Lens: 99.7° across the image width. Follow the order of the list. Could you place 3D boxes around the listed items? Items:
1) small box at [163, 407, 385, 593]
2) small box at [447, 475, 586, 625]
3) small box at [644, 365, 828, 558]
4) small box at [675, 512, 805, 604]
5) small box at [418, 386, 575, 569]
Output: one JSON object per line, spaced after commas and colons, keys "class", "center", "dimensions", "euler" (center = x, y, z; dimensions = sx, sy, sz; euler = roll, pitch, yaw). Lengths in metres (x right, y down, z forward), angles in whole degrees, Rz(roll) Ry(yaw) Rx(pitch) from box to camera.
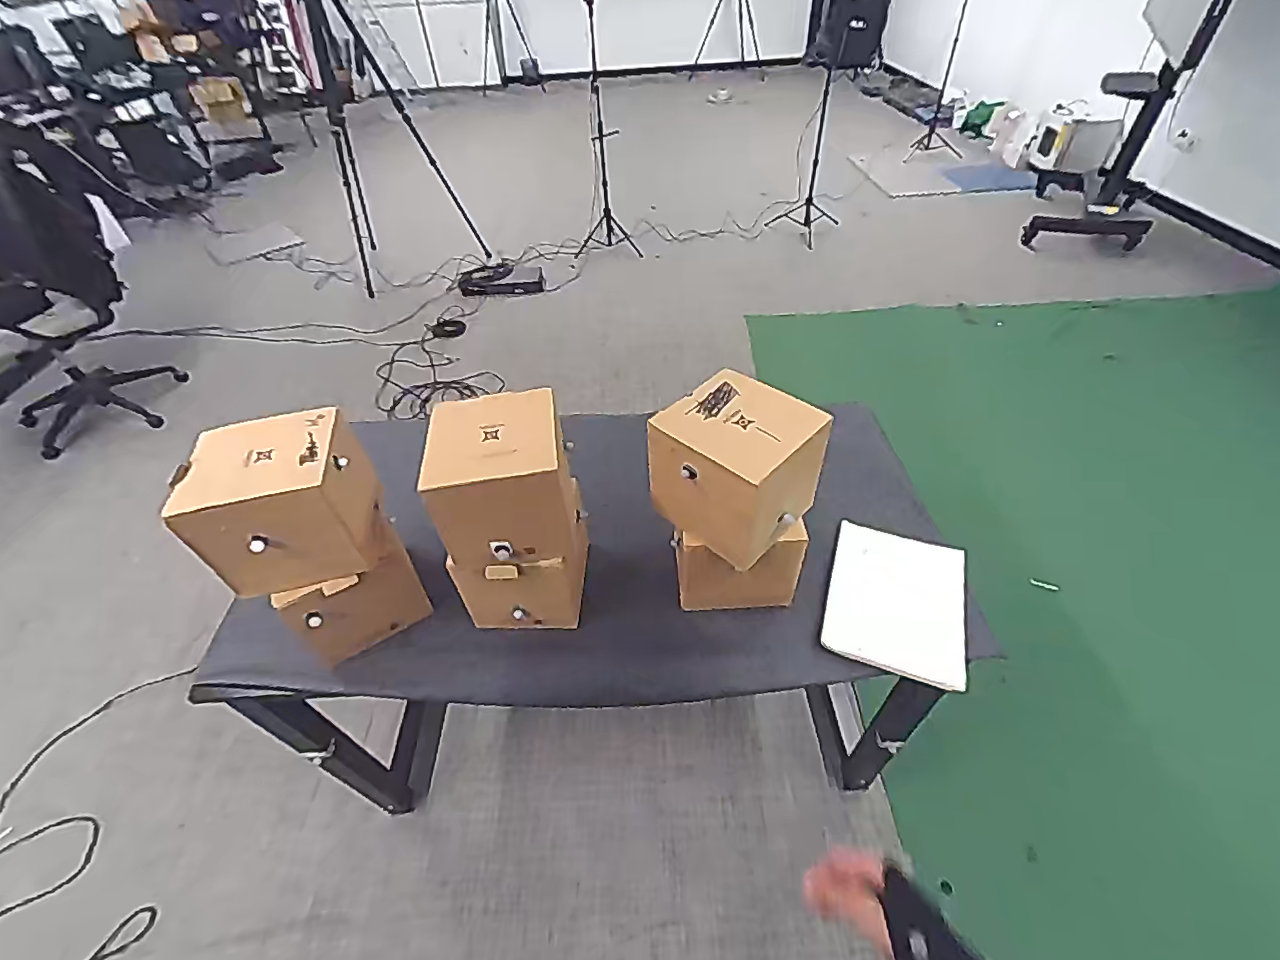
{"class": "small box", "center": [-0.474, 0.030, 0.736], "dimensions": [0.179, 0.176, 0.168], "euler": [-14, 46, -8]}
{"class": "small box", "center": [-0.182, 0.111, 0.864], "dimensions": [0.168, 0.176, 0.179], "euler": [-2, 45, 4]}
{"class": "small box", "center": [0.125, -0.026, 0.744], "dimensions": [0.179, 0.176, 0.168], "euler": [33, 57, 32]}
{"class": "small box", "center": [0.148, 0.082, 0.867], "dimensions": [0.179, 0.176, 0.168], "euler": [-5, 45, 1]}
{"class": "small box", "center": [-0.187, -0.004, 0.748], "dimensions": [0.168, 0.176, 0.179], "euler": [-10, 45, -4]}
